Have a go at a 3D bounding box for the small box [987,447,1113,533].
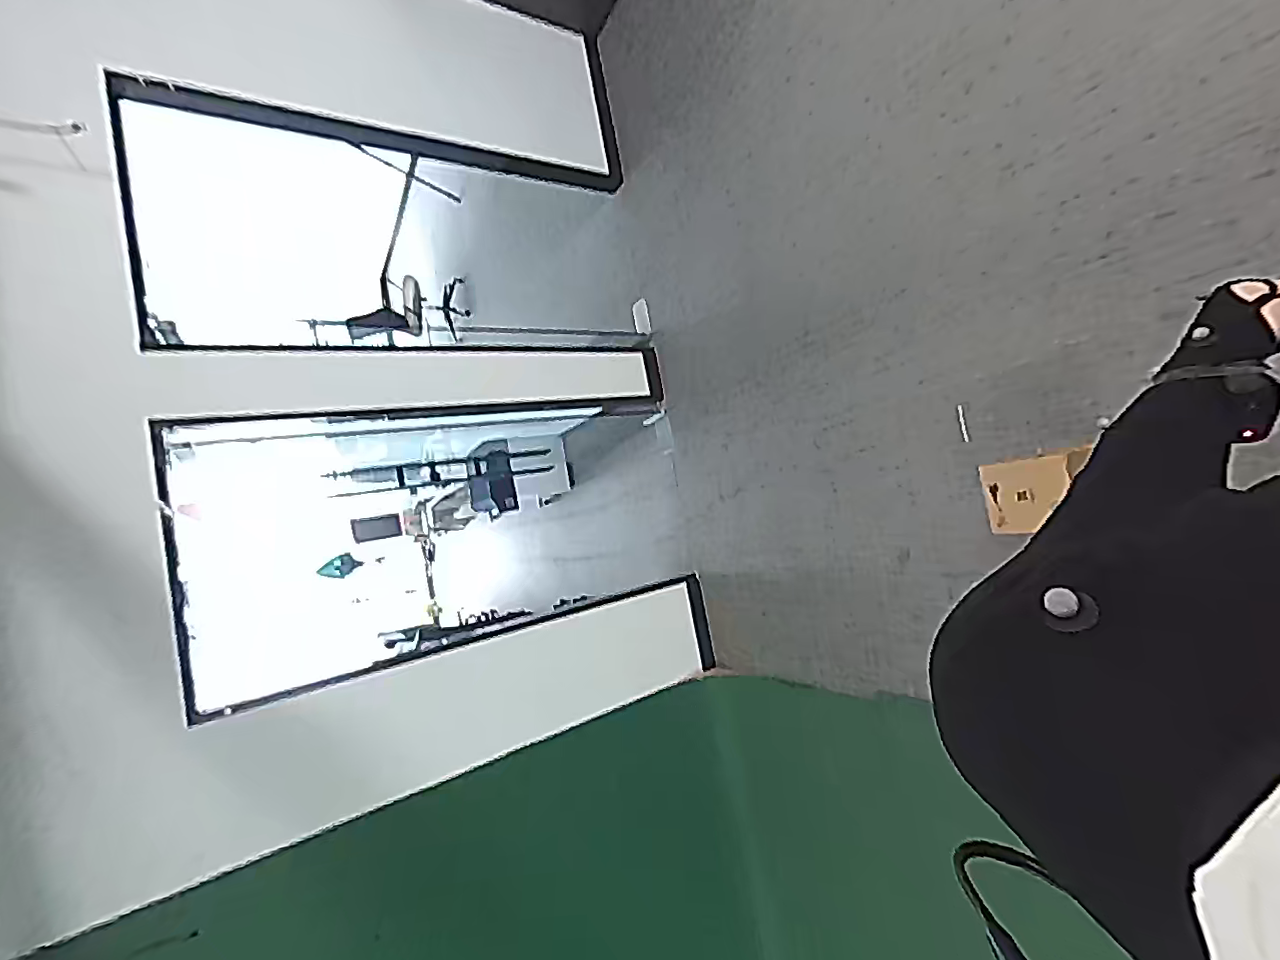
[{"bbox_3d":[0.942,0.024,1.238,0.179,0.176,0.168,-15,83,58],"label":"small box"}]
